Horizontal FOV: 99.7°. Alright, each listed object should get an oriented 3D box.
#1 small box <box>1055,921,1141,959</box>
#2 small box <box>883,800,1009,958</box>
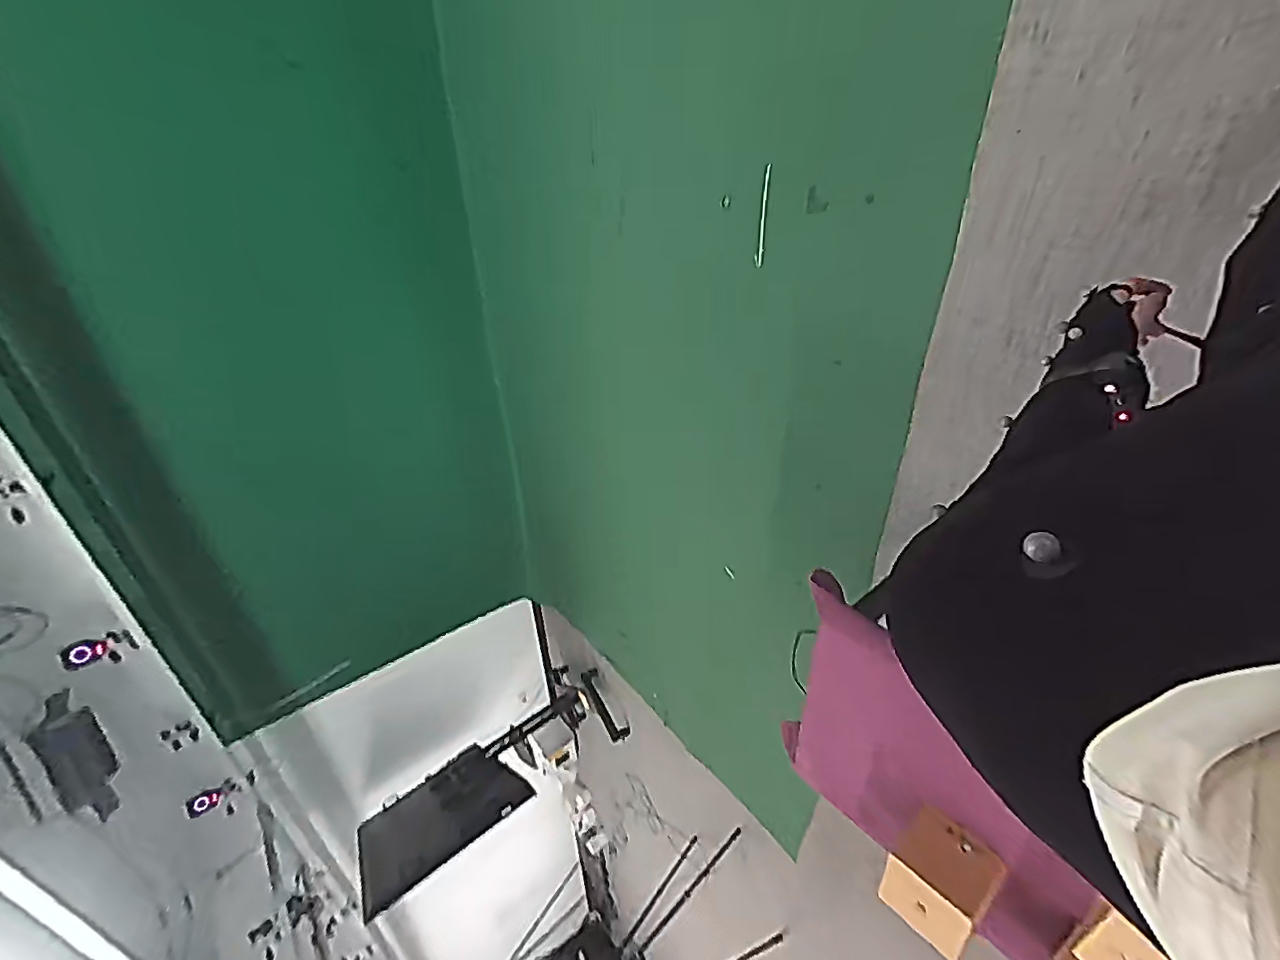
[{"bbox_3d":[0.826,0.939,0.950,0.168,0.176,0.179,29,133,44],"label":"small box"},{"bbox_3d":[0.647,0.835,1.146,0.168,0.176,0.179,27,131,44],"label":"small box"}]
